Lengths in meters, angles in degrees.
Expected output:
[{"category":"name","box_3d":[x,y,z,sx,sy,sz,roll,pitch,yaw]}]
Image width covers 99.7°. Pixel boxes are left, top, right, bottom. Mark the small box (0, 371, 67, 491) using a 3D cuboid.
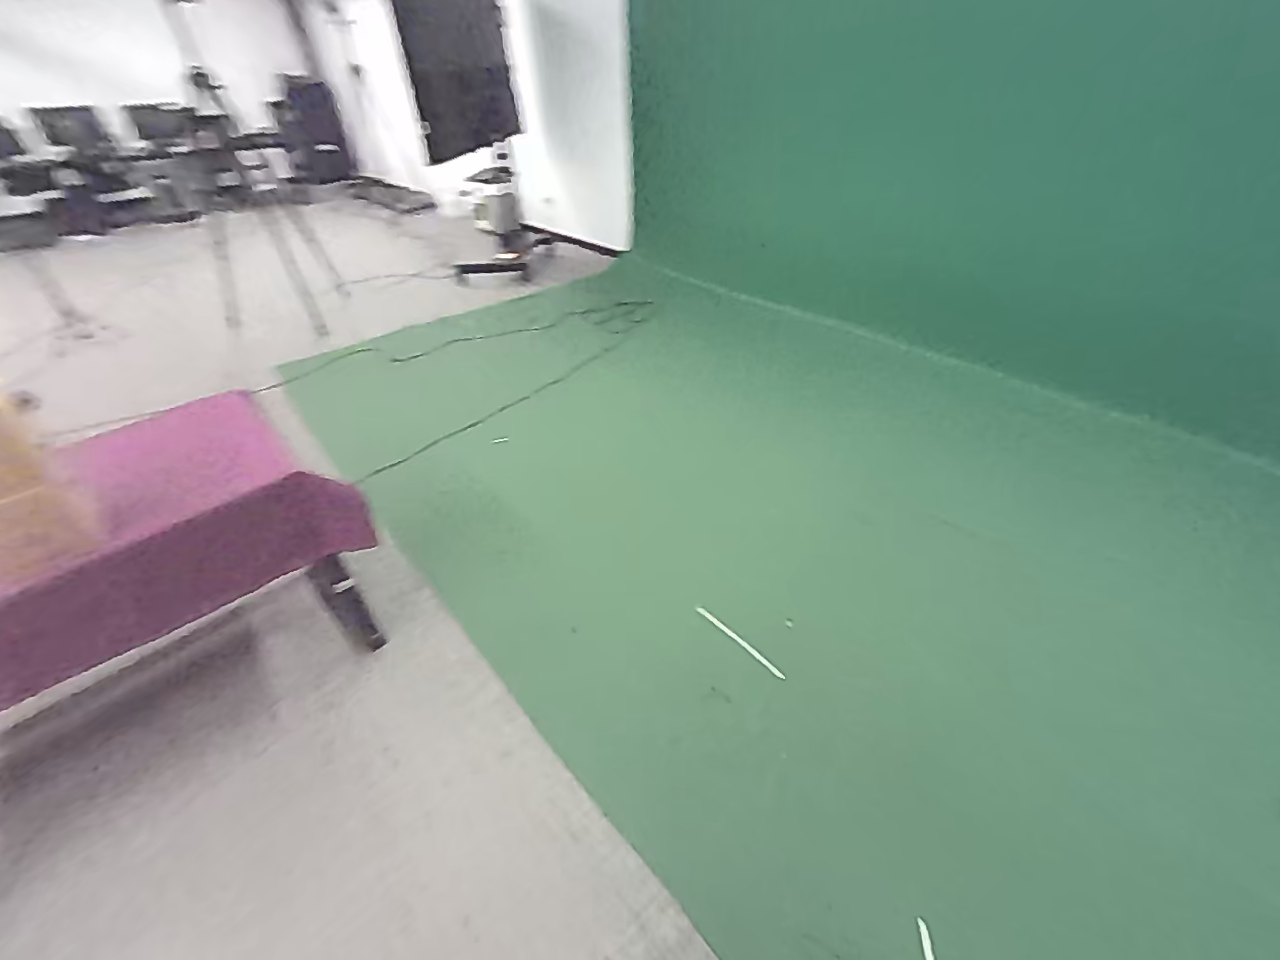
[{"category":"small box","box_3d":[-1.249,-0.077,1.019,0.179,0.176,0.168,-28,46,-31]}]
